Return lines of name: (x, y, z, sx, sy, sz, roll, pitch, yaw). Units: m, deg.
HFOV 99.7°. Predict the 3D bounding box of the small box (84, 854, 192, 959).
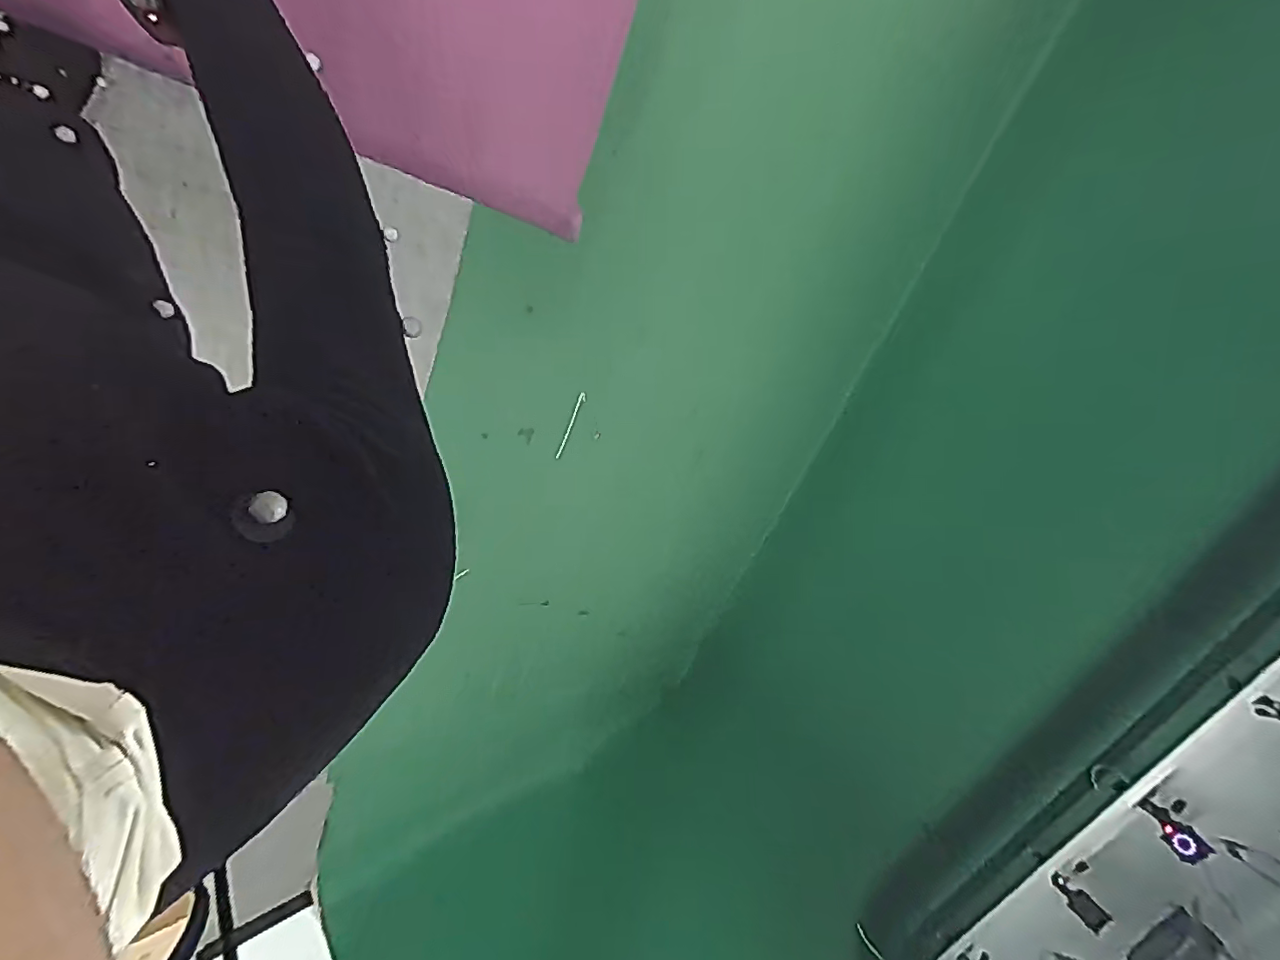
small box: (-1.204, 1.054, 1.294, 0.168, 0.176, 0.179, 1, 122, -51)
